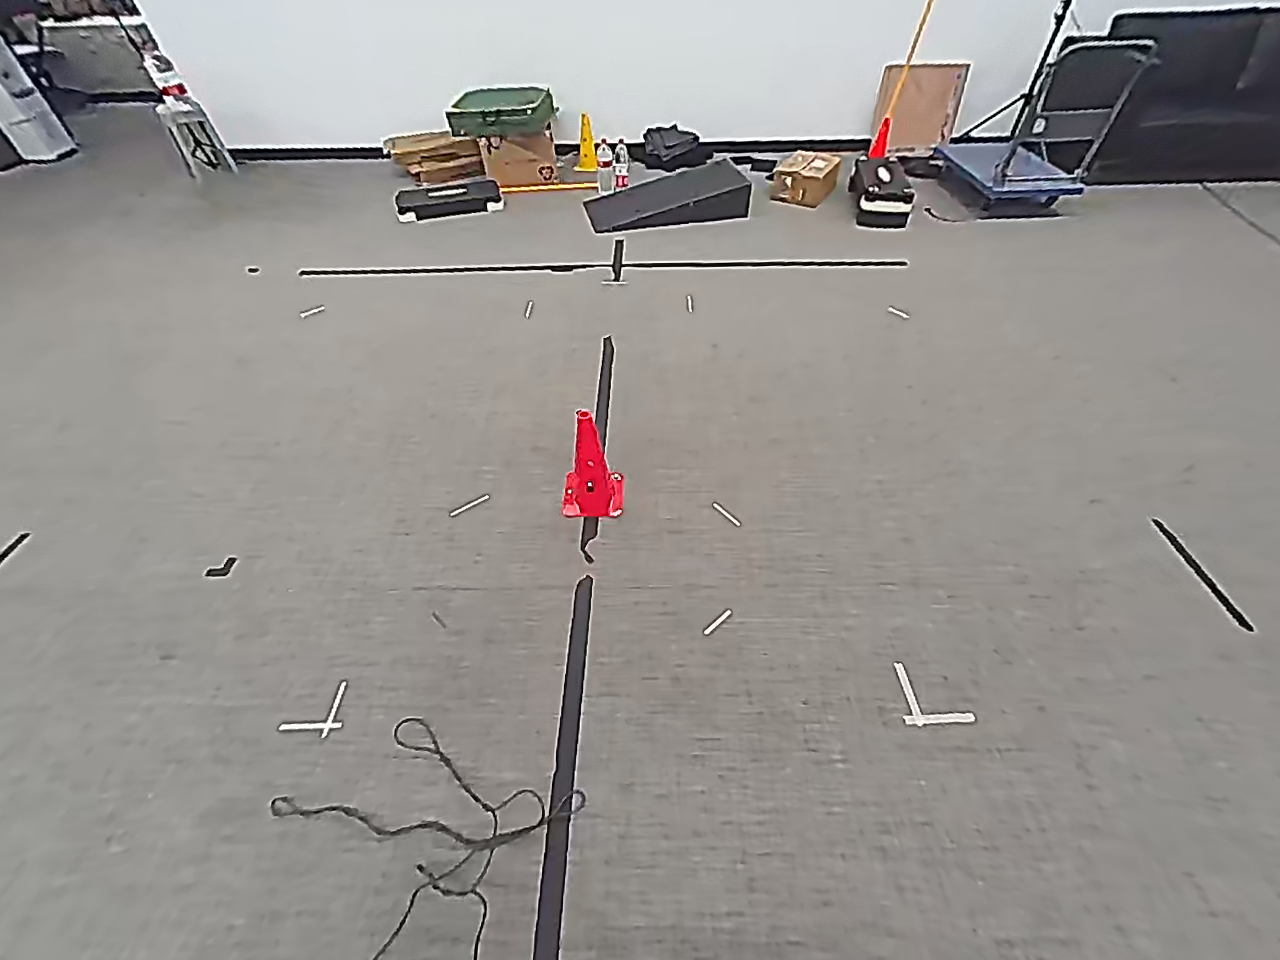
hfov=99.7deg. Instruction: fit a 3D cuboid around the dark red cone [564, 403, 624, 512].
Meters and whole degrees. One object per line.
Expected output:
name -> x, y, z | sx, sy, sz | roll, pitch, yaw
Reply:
dark red cone -> -0.159, -0.083, 1.700 | 0.201, 0.394, 0.202 | -1, 47, 1
